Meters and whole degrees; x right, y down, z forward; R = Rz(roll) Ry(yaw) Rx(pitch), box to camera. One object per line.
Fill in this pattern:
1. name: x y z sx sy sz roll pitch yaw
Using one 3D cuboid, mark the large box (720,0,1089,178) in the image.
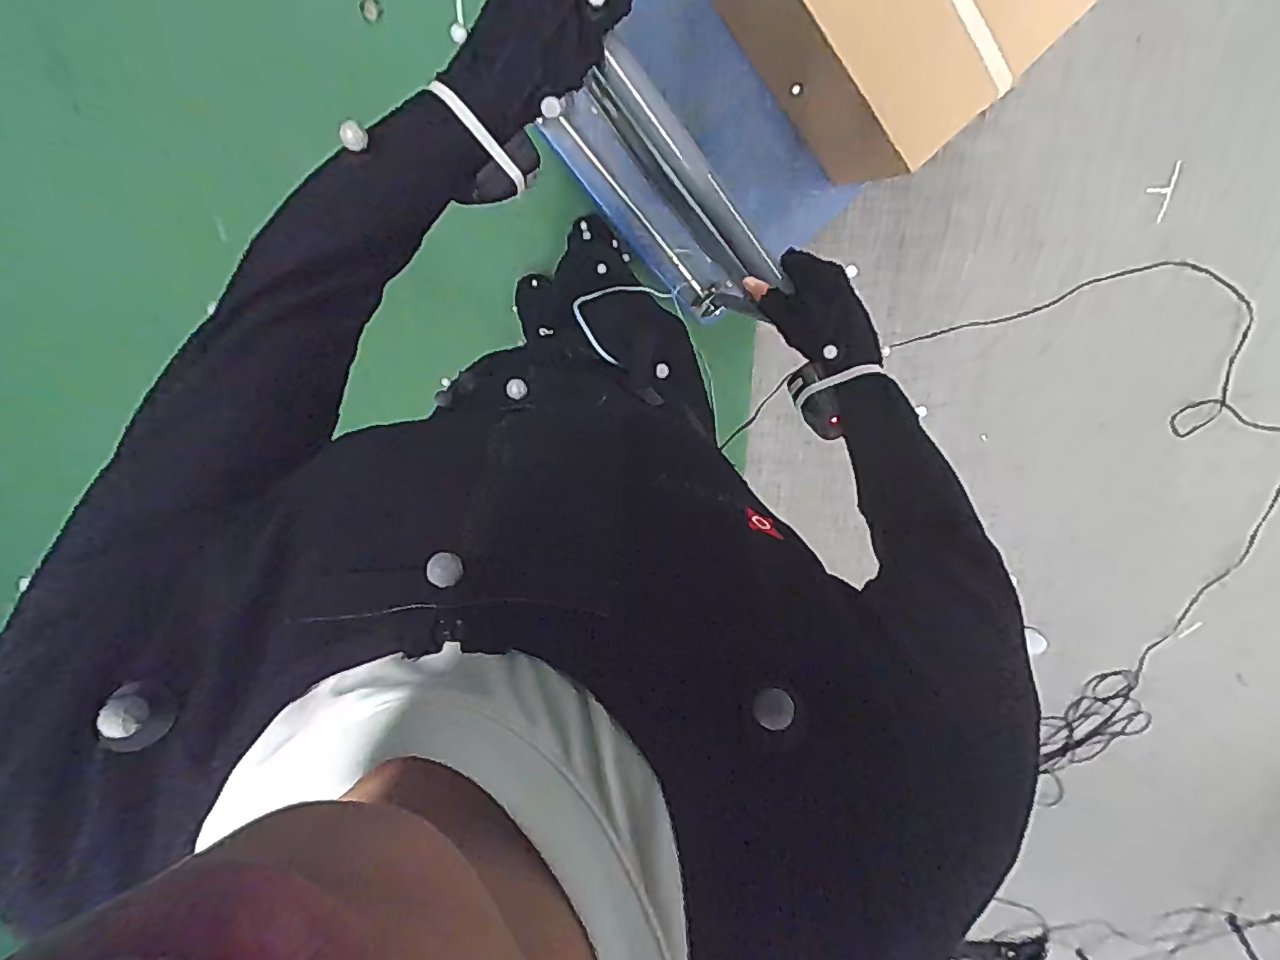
1. large box: 0.389 -0.767 0.863 0.320 0.320 0.408 -42 110 15
